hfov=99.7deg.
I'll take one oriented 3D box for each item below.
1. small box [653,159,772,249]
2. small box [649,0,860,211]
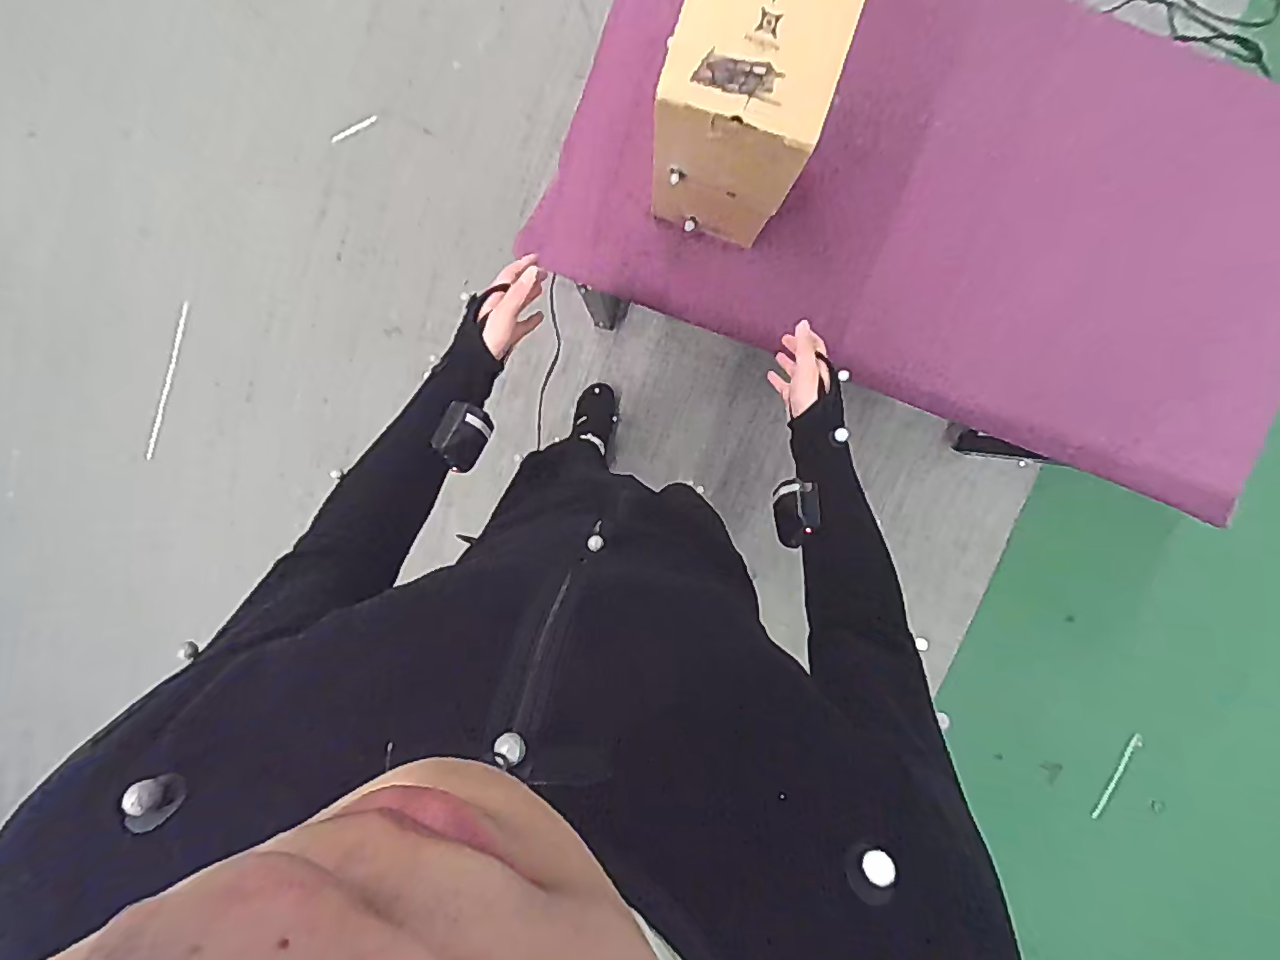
[{"bbox_3d":[0.117,-0.456,0.757,0.168,0.176,0.179,18,96,-2],"label":"small box"},{"bbox_3d":[0.114,-0.430,0.595,0.168,0.176,0.179,18,95,-1],"label":"small box"}]
